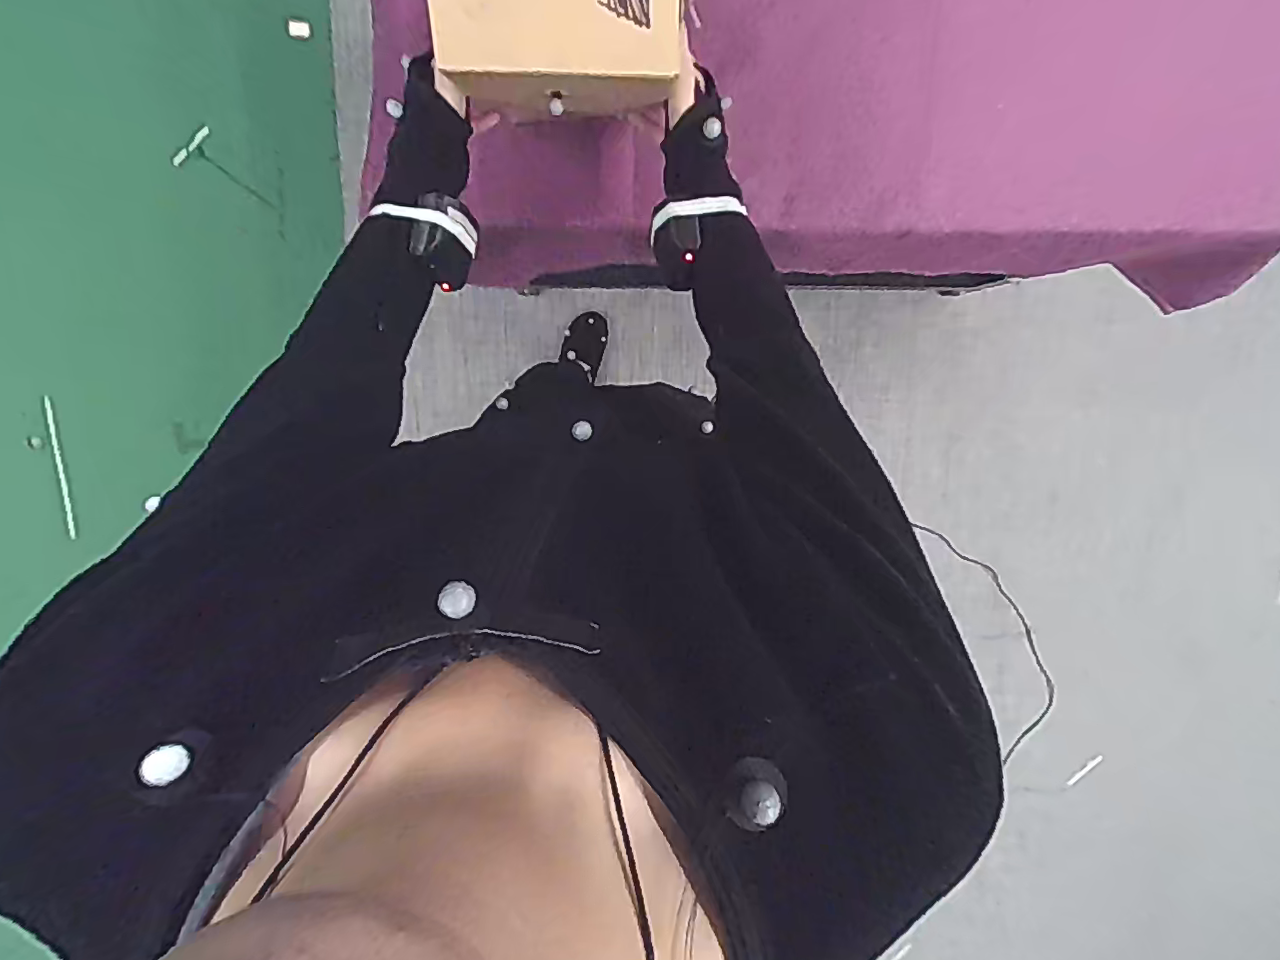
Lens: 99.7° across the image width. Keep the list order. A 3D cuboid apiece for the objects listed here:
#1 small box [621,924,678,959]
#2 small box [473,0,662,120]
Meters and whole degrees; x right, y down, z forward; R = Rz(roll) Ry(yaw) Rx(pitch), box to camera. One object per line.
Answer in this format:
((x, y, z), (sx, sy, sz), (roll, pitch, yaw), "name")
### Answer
((0.032, 1.527, 1.681), (0.179, 0.176, 0.168), (-5, 100, 1), "small box")
((-0.074, -0.491, 0.570), (0.179, 0.176, 0.168), (-4, 116, -2), "small box")
